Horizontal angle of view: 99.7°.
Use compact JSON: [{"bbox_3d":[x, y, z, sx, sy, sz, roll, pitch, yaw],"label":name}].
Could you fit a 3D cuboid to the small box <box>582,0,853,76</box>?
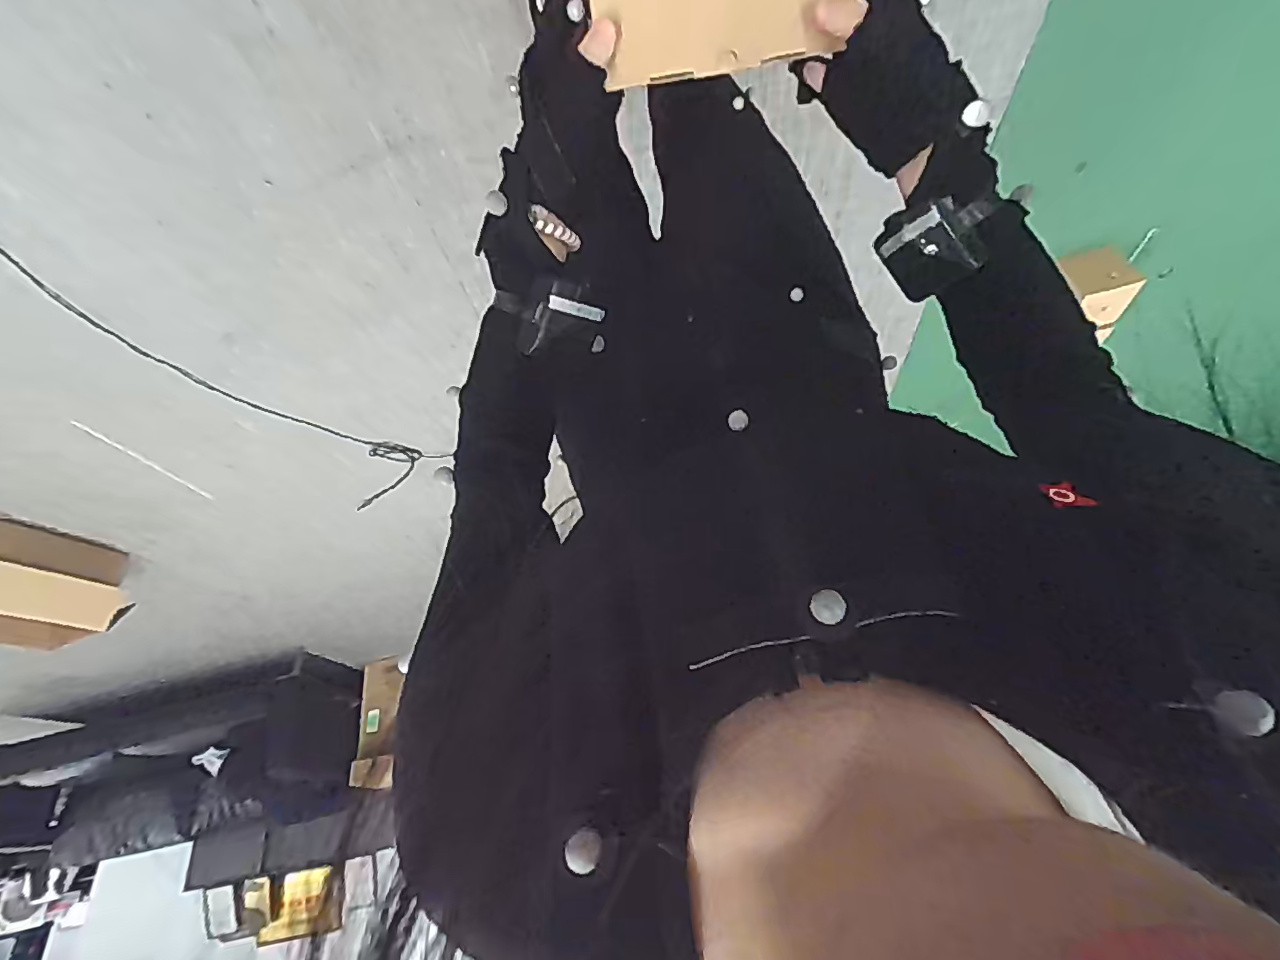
[{"bbox_3d":[0.035,-0.392,0.345,0.168,0.176,0.179,-10,138,1],"label":"small box"}]
